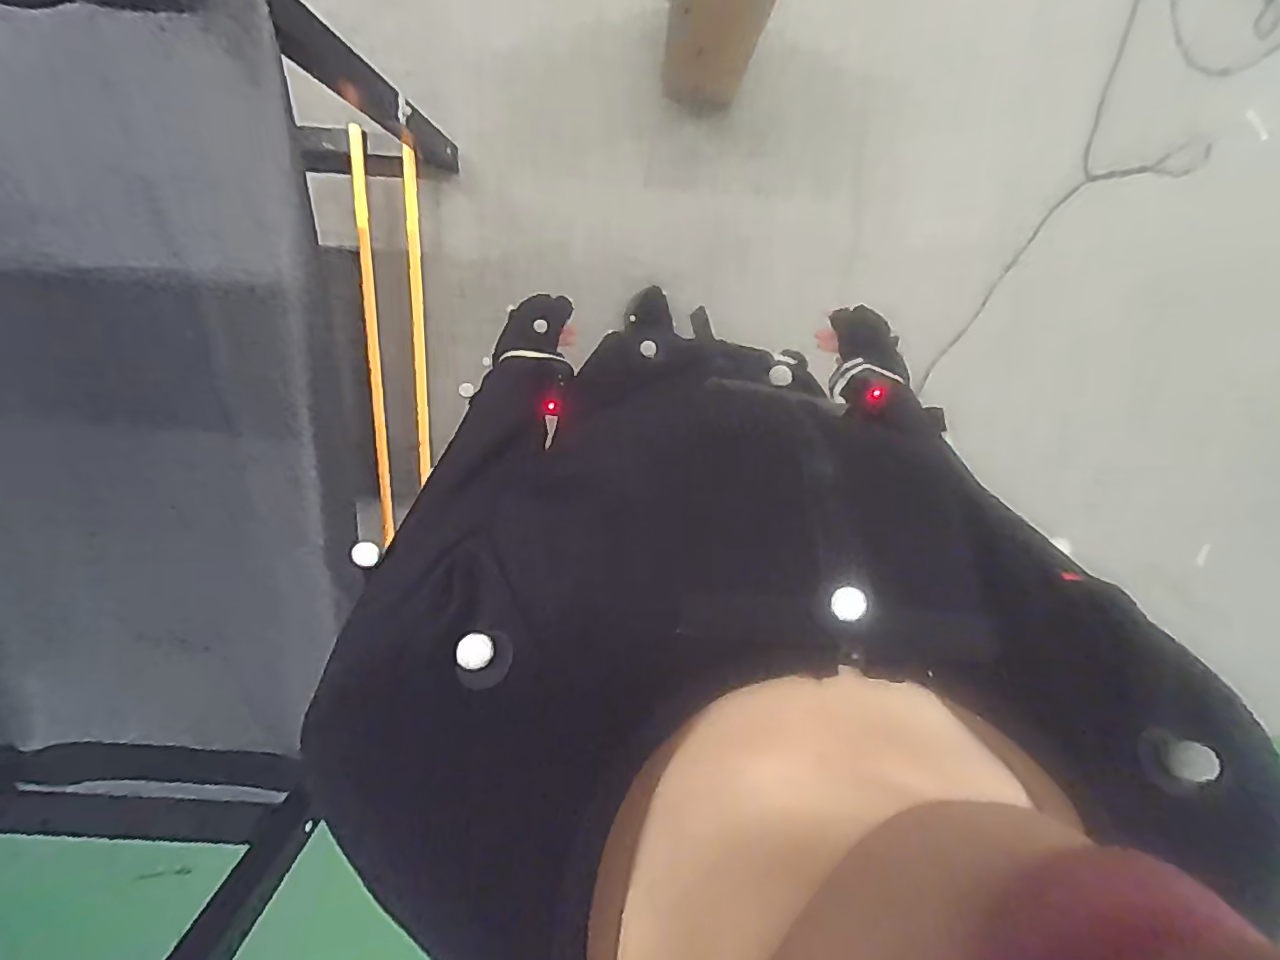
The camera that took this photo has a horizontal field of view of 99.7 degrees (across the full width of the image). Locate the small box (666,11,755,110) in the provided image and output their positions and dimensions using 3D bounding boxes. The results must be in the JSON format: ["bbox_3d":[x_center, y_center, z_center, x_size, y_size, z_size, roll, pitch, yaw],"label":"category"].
[{"bbox_3d":[0.149,-0.925,1.143,0.168,0.176,0.179,9,107,-1],"label":"small box"}]

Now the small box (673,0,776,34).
[{"bbox_3d":[0.143,-0.833,0.830,0.168,0.176,0.179,7,106,-2],"label":"small box"}]
